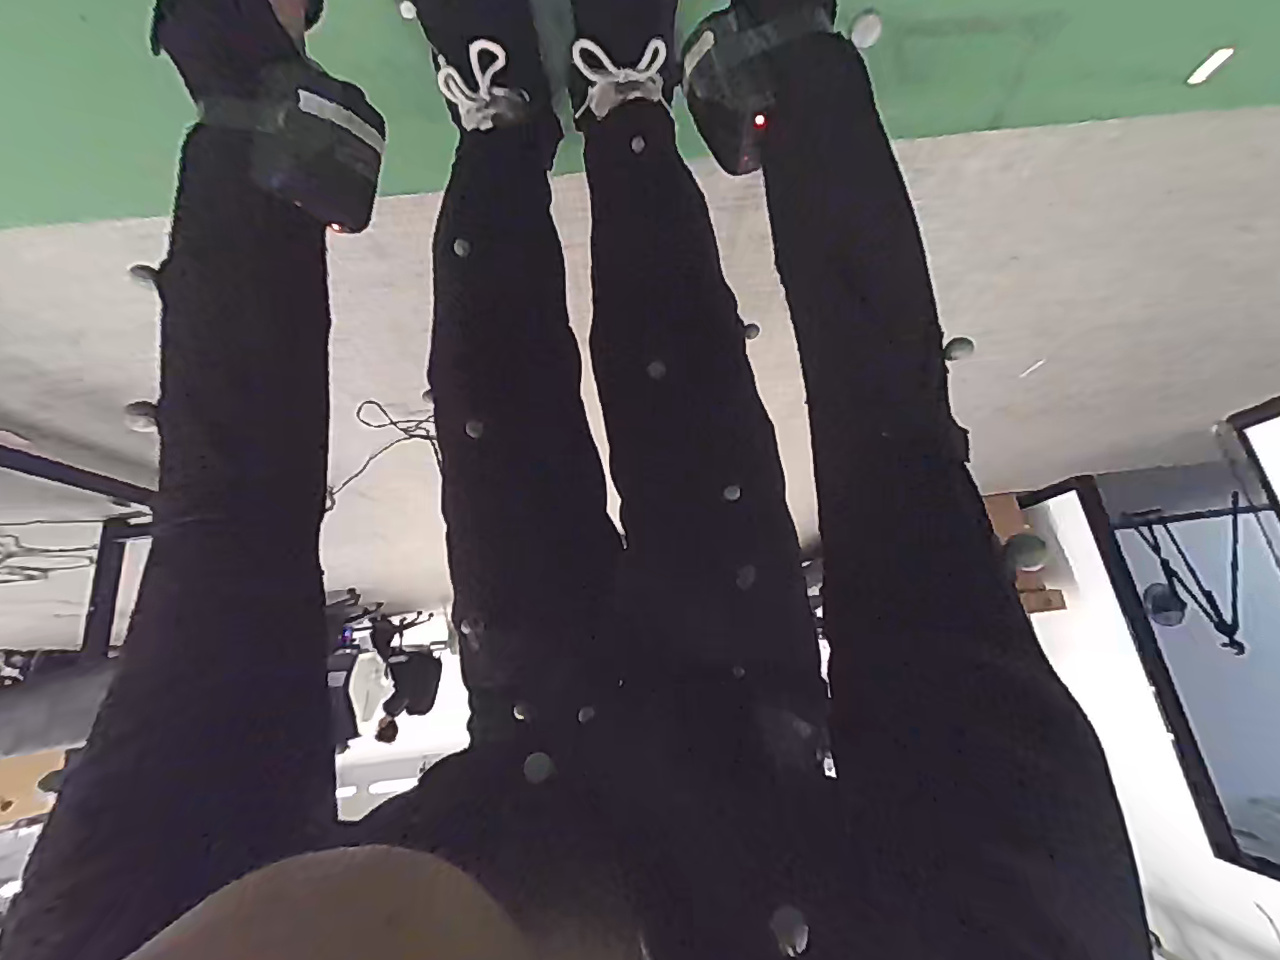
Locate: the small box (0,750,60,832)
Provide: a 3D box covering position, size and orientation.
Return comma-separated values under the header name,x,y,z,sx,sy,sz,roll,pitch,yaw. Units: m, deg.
name,x,y,z,sx,sy,sz,roll,pitch,yaw
small box,-1.624,0.787,1.346,0.168,0.176,0.179,-8,162,-3
